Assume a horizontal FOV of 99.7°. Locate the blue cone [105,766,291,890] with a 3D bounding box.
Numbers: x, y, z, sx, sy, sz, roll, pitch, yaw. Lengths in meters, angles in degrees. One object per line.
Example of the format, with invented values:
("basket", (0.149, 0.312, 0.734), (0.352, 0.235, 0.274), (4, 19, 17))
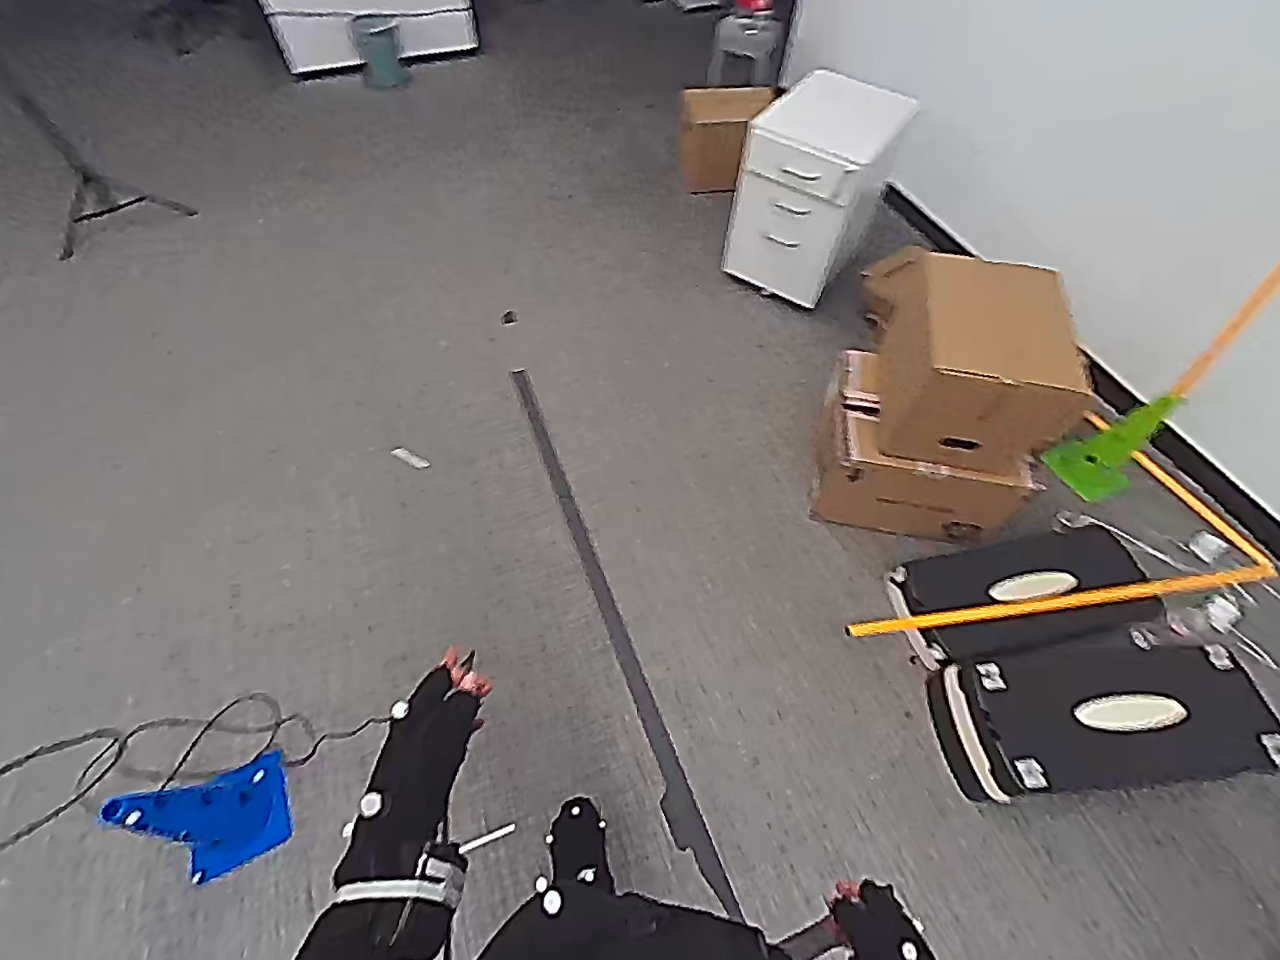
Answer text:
("blue cone", (-0.875, 0.667, 1.052), (0.193, 0.380, 0.192), (-22, 61, -15))
